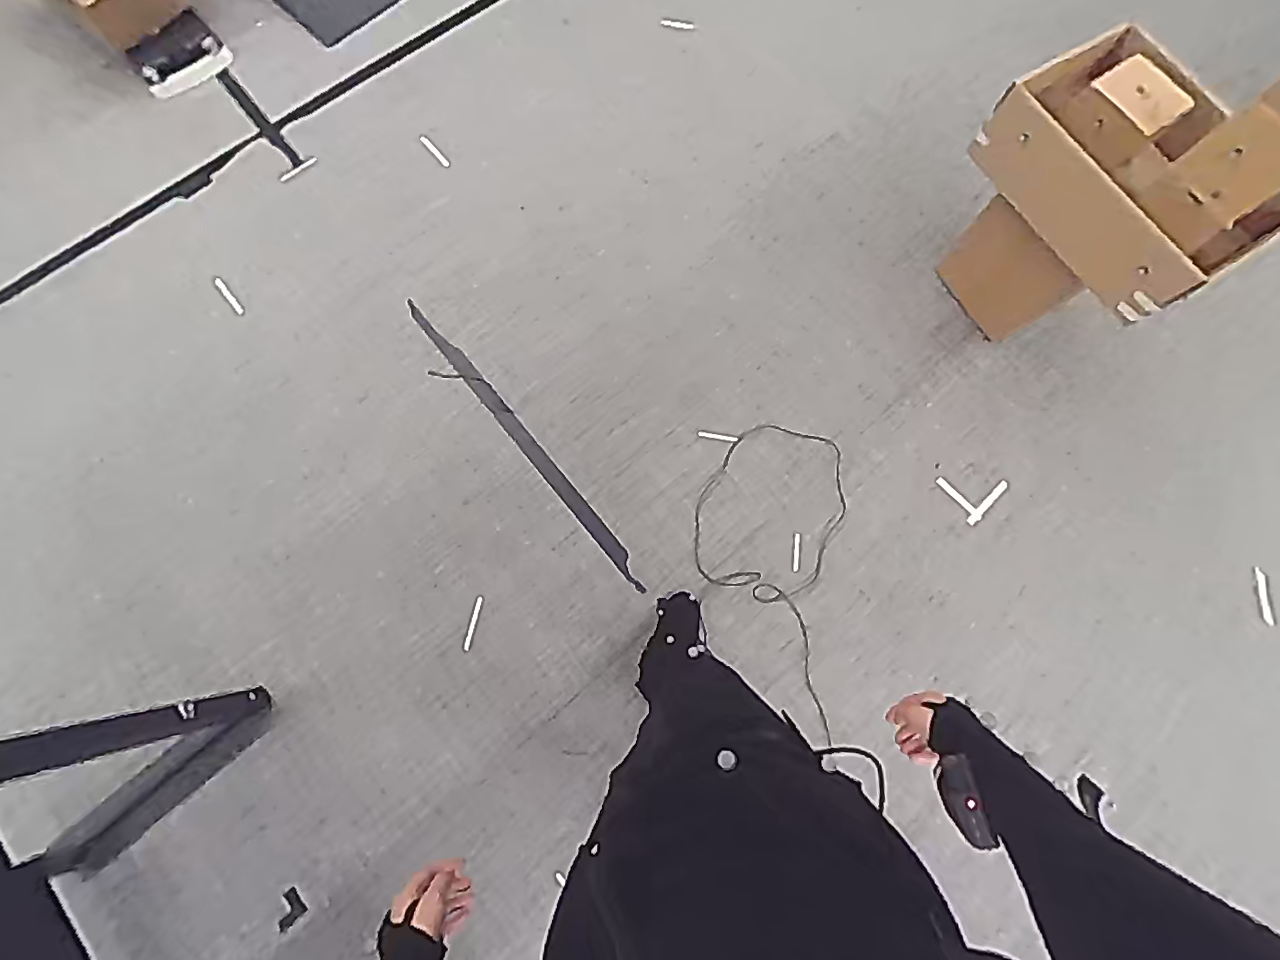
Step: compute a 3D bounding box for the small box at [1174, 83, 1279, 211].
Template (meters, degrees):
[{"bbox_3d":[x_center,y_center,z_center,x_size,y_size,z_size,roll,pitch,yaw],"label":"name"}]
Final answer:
[{"bbox_3d":[1.221,-0.671,1.058,0.179,0.176,0.168,-33,79,-10],"label":"small box"}]
